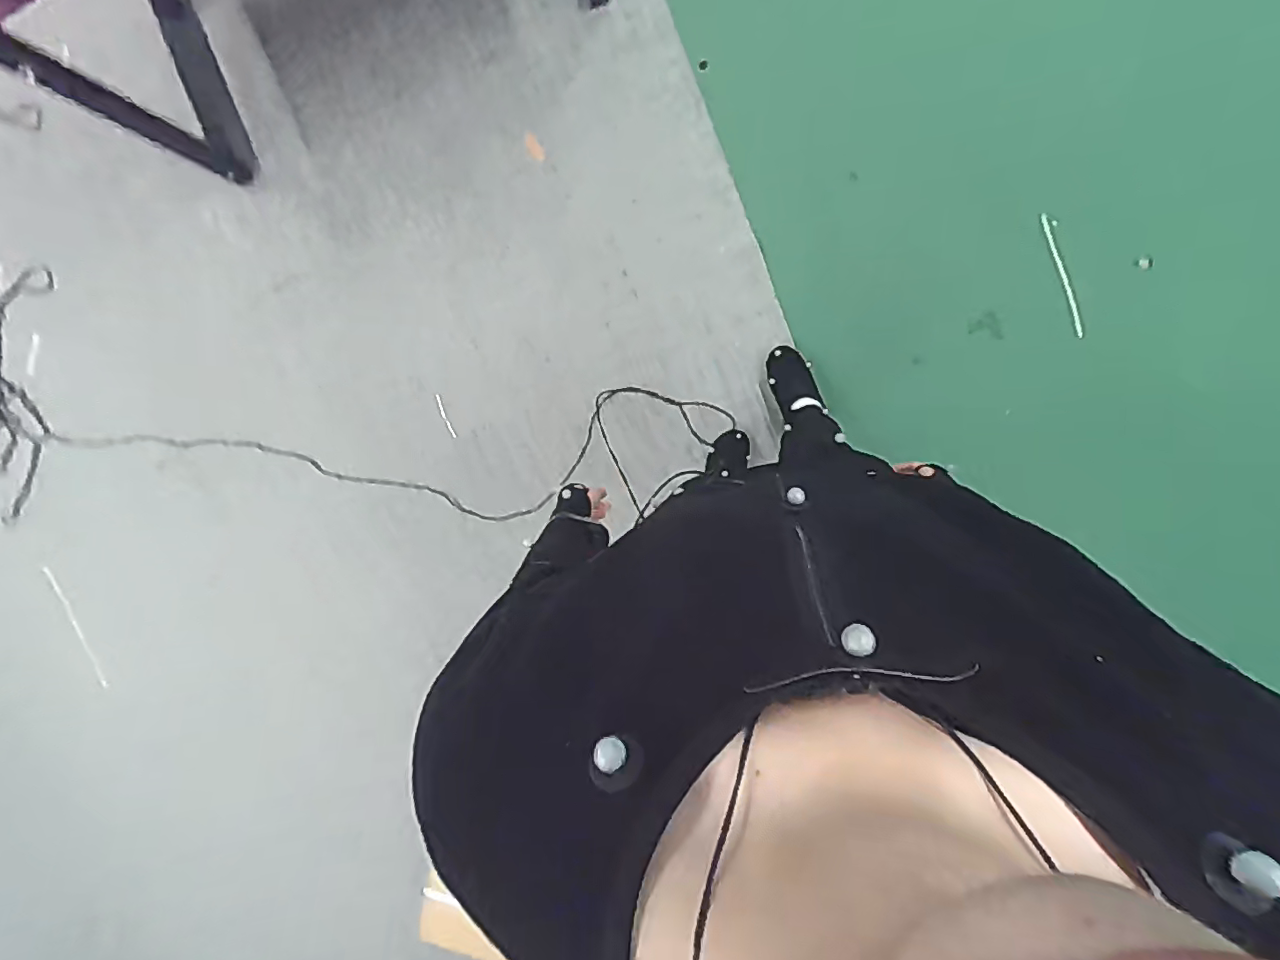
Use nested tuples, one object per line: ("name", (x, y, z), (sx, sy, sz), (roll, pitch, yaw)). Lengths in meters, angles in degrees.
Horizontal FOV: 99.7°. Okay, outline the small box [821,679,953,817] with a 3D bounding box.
("small box", (0.498, 0.540, 1.122), (0.168, 0.176, 0.179), (-30, 91, 10))
